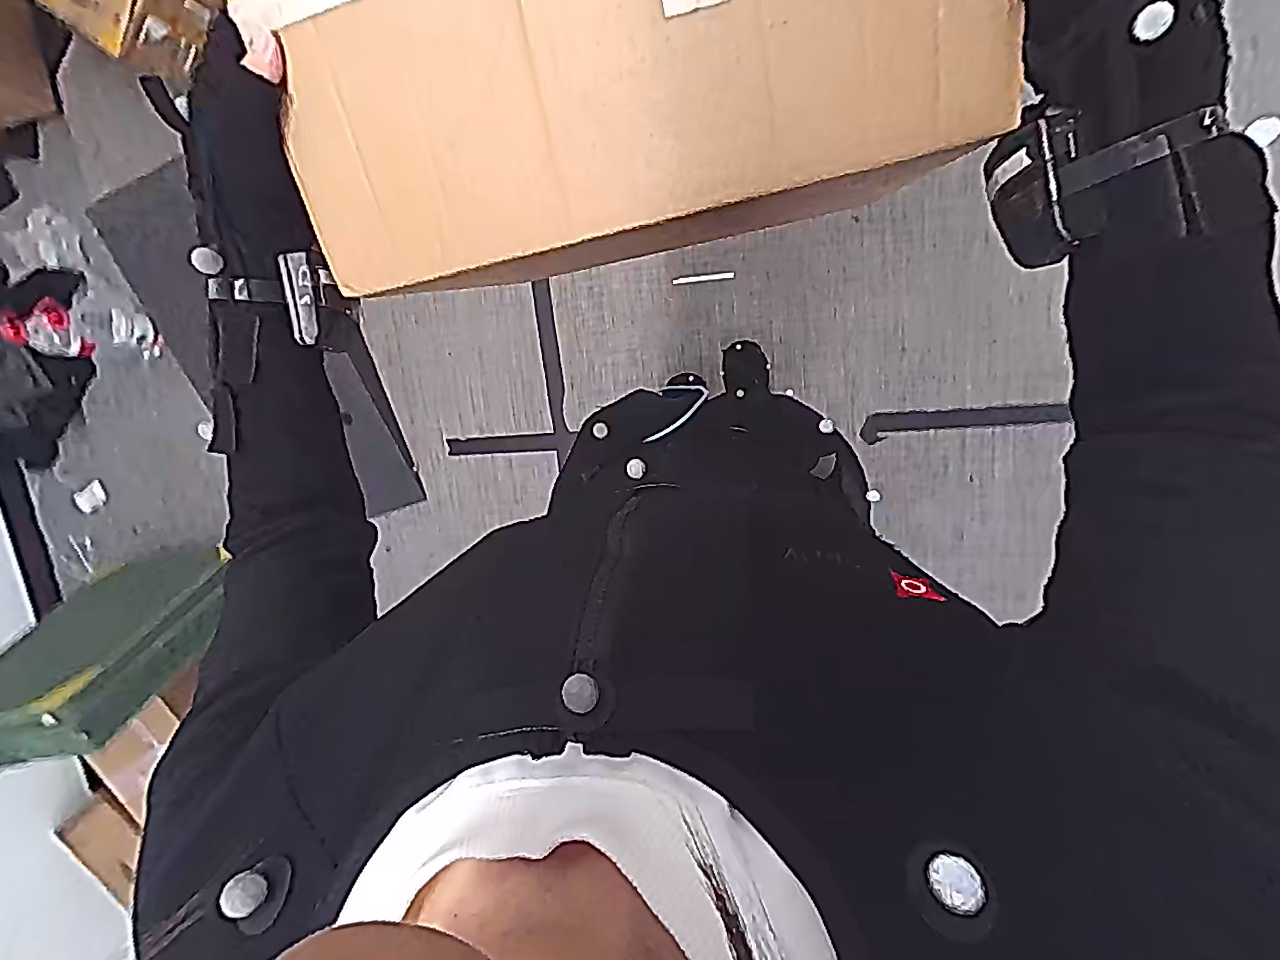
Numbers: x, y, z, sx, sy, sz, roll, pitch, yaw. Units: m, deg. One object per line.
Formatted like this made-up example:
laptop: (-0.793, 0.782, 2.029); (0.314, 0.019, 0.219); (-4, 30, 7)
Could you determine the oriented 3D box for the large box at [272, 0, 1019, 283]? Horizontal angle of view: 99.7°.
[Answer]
large box: (-0.003, -0.356, 0.414); (0.408, 0.320, 0.320); (-8, 110, 13)
